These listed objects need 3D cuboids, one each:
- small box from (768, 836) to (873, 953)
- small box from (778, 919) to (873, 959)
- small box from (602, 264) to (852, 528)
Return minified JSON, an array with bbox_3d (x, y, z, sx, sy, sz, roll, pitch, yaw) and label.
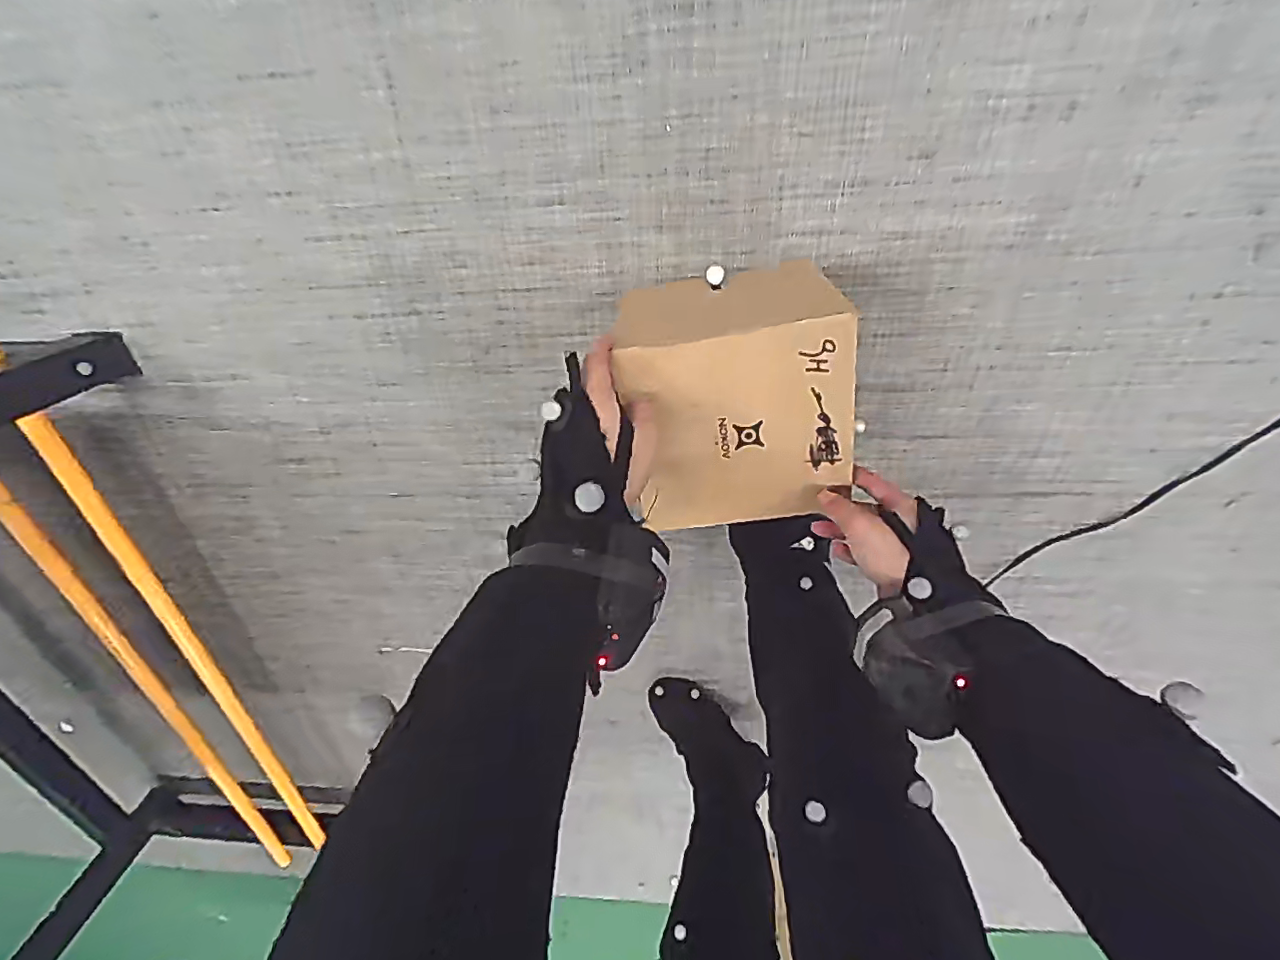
[{"bbox_3d":[0.382,0.911,1.186,0.179,0.176,0.168,2,123,4],"label":"small box"},{"bbox_3d":[0.364,0.985,1.041,0.168,0.176,0.179,-1,121,5],"label":"small box"},{"bbox_3d":[0.079,-0.079,0.483,0.179,0.176,0.168,-7,123,10],"label":"small box"}]
